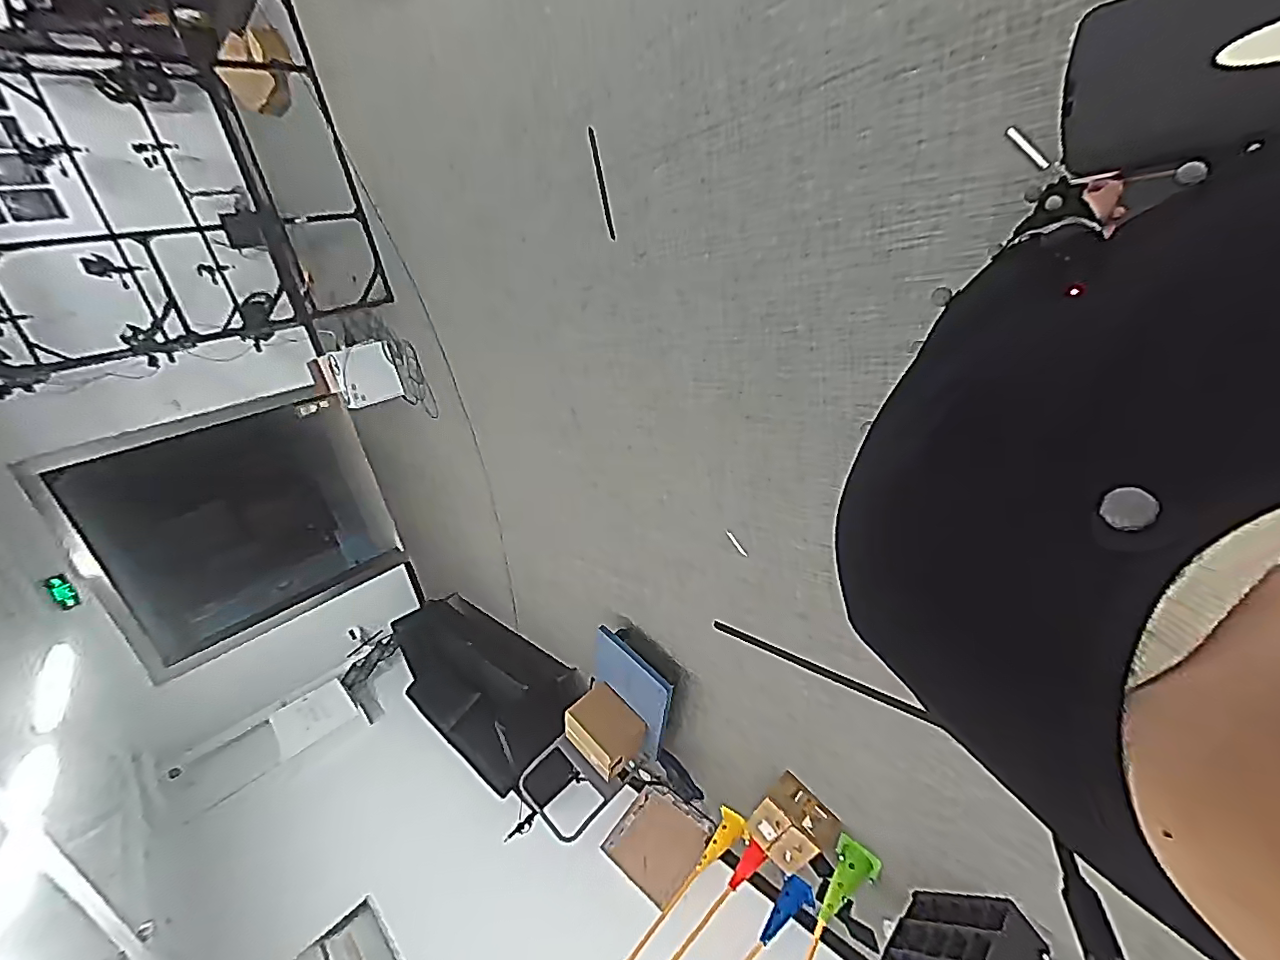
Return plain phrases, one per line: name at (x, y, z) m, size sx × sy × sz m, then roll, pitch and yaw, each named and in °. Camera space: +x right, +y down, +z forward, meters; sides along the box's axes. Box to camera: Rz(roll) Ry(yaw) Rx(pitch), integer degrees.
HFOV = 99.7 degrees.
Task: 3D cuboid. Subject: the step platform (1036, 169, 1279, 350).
step platform at (1.101, -0.378, 0.920) m, size 0.684 × 0.204 × 0.286 m, roll 19°, pitch 125°, yaw 45°
